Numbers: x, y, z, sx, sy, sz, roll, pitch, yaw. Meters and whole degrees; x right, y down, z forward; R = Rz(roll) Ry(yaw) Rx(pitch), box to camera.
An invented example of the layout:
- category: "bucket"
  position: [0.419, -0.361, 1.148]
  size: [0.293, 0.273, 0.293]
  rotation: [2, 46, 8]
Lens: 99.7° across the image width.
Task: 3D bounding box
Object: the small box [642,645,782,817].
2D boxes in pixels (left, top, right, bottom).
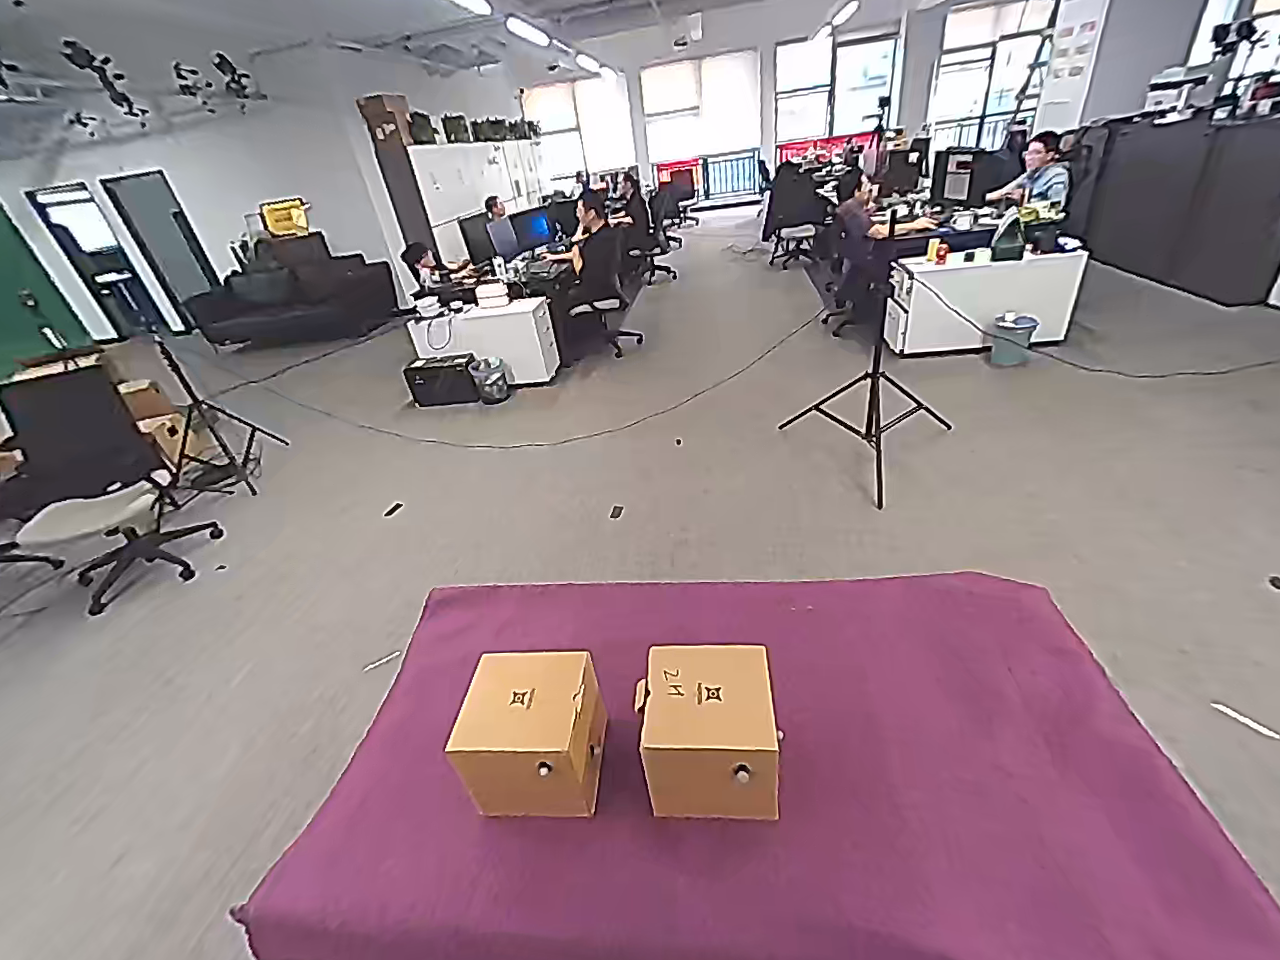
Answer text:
- category: "small box"
  position: [0.106, 0.362, 0.785]
  size: [0.179, 0.176, 0.168]
  rotation: [-4, 31, 9]

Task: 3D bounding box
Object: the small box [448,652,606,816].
- category: "small box"
  position: [-0.158, 0.384, 0.821]
  size: [0.179, 0.176, 0.168]
  rotation: [-4, 32, 7]
